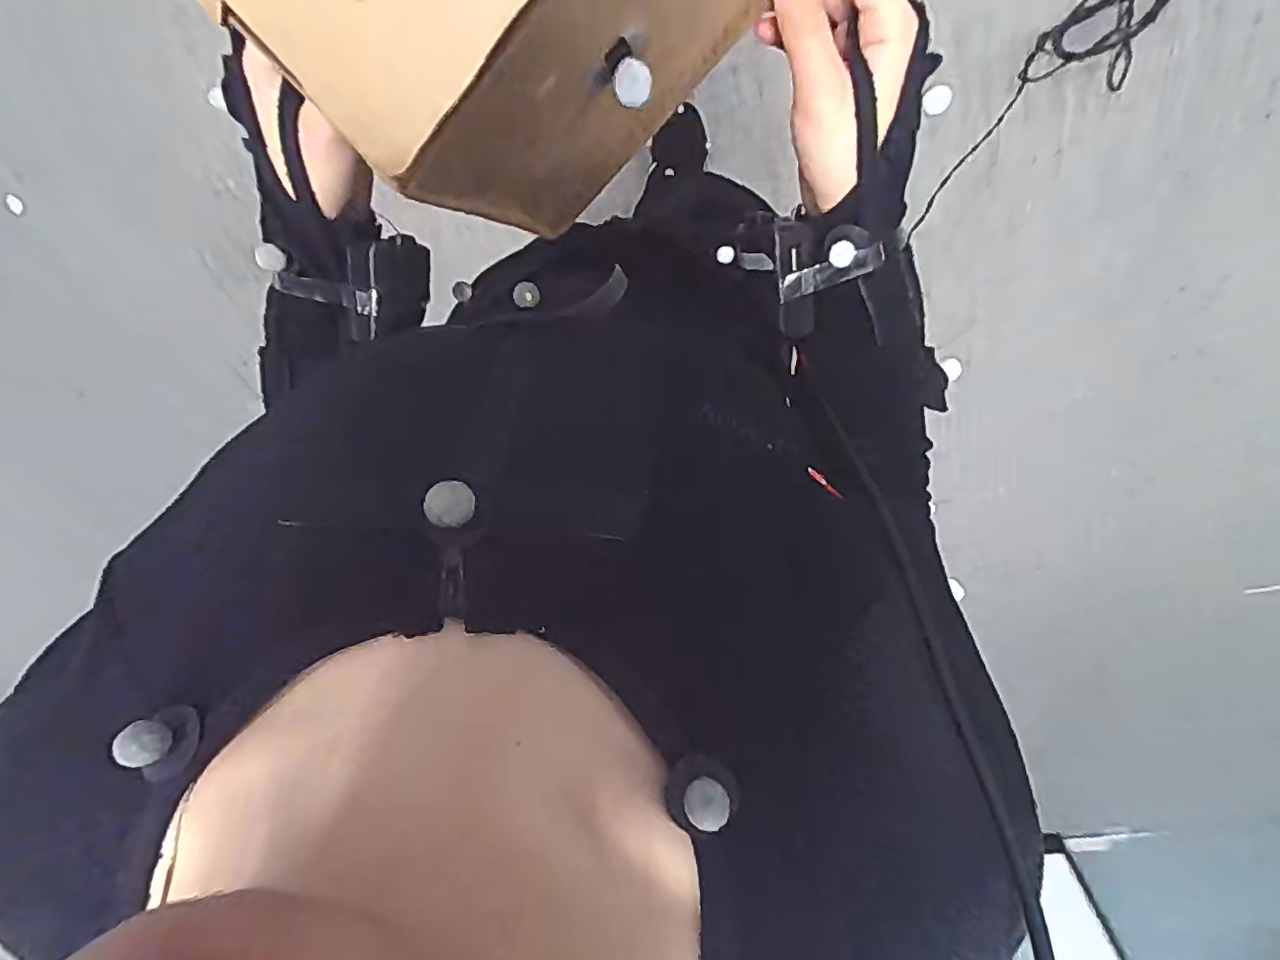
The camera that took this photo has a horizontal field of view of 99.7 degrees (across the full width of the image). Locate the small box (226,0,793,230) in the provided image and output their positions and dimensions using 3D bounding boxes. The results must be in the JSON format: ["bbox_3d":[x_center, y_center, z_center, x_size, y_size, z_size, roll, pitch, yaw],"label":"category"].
[{"bbox_3d":[-0.043,-0.214,0.186,0.179,0.176,0.168,-39,100,18],"label":"small box"}]
